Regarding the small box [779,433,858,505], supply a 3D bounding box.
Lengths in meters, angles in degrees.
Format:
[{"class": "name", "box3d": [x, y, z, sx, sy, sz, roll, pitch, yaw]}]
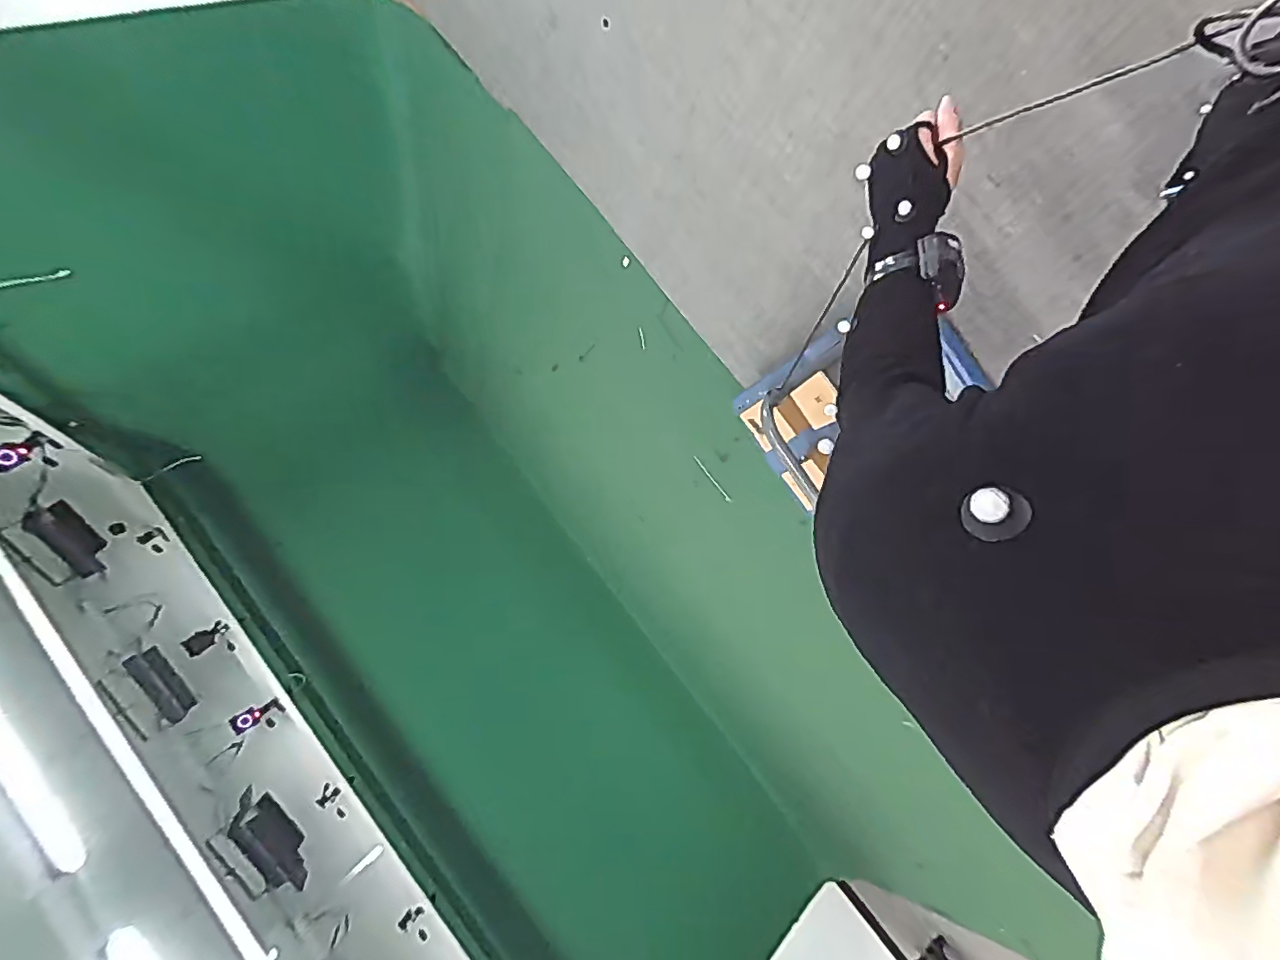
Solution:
[{"class": "small box", "box3d": [0.633, -0.041, 1.893, 0.168, 0.176, 0.179, 54, 153, 1]}]

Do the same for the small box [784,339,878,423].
[{"class": "small box", "box3d": [0.589, -0.303, 1.660, 0.168, 0.176, 0.179, 55, 152, -4]}]

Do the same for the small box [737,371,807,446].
[{"class": "small box", "box3d": [0.482, -0.249, 1.885, 0.168, 0.176, 0.179, 53, 152, -2]}]
